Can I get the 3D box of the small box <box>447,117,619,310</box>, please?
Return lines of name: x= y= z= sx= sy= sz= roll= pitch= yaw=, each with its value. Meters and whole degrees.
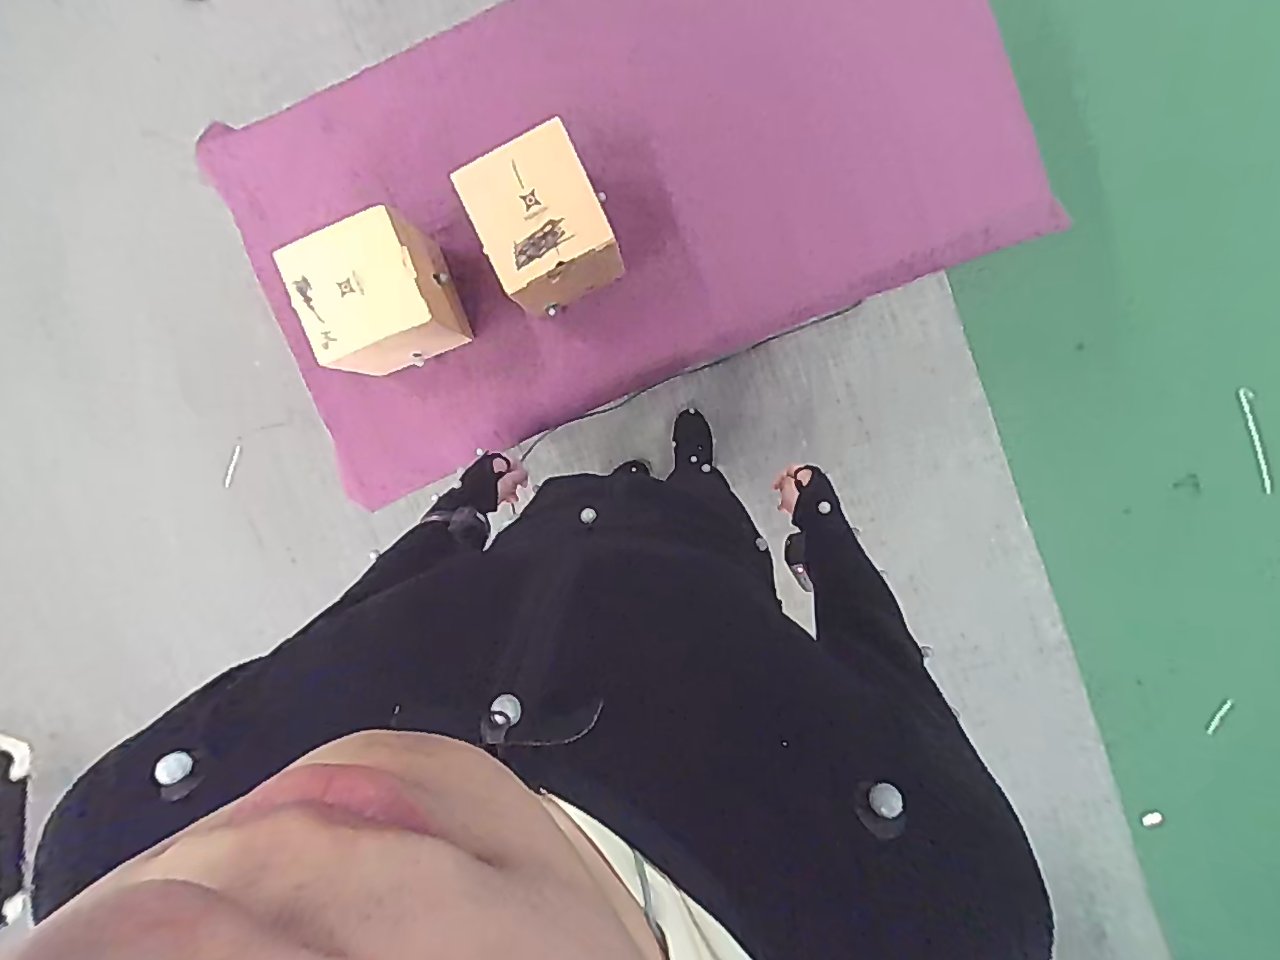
small box: x=-0.140 y=-0.364 z=0.786 sx=0.168 sy=0.176 sz=0.179 roll=-26 pitch=94 yaw=4

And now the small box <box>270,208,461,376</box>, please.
small box: x=-0.388 y=-0.265 z=0.806 sx=0.179 sy=0.176 sz=0.168 roll=-21 pitch=95 yaw=3
